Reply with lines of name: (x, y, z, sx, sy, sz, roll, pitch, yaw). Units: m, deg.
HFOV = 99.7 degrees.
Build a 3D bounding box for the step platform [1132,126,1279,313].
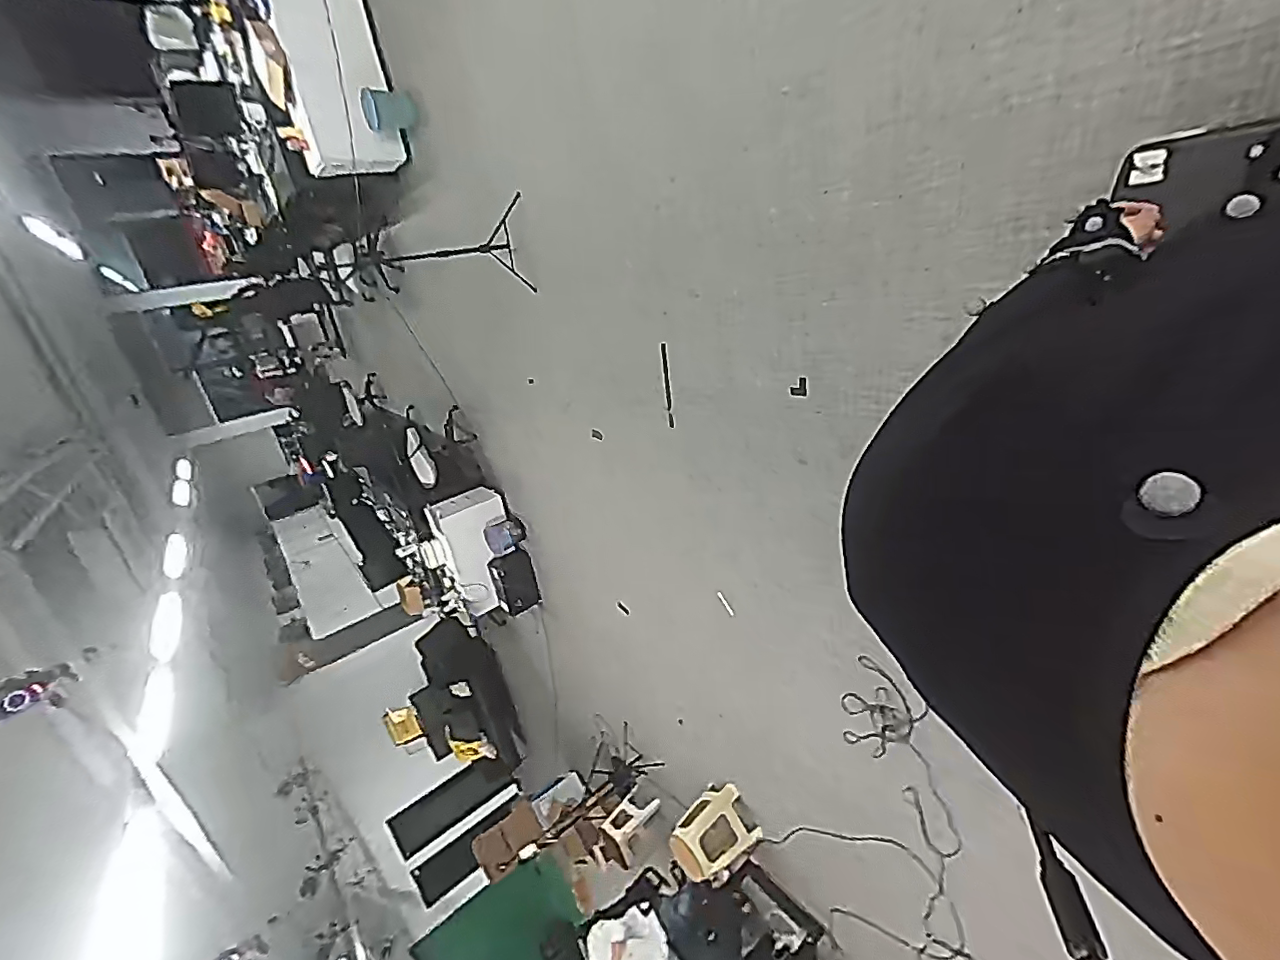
step platform: (1.194, -0.395, 0.799, 0.684, 0.204, 0.286, 24, 128, 46)
